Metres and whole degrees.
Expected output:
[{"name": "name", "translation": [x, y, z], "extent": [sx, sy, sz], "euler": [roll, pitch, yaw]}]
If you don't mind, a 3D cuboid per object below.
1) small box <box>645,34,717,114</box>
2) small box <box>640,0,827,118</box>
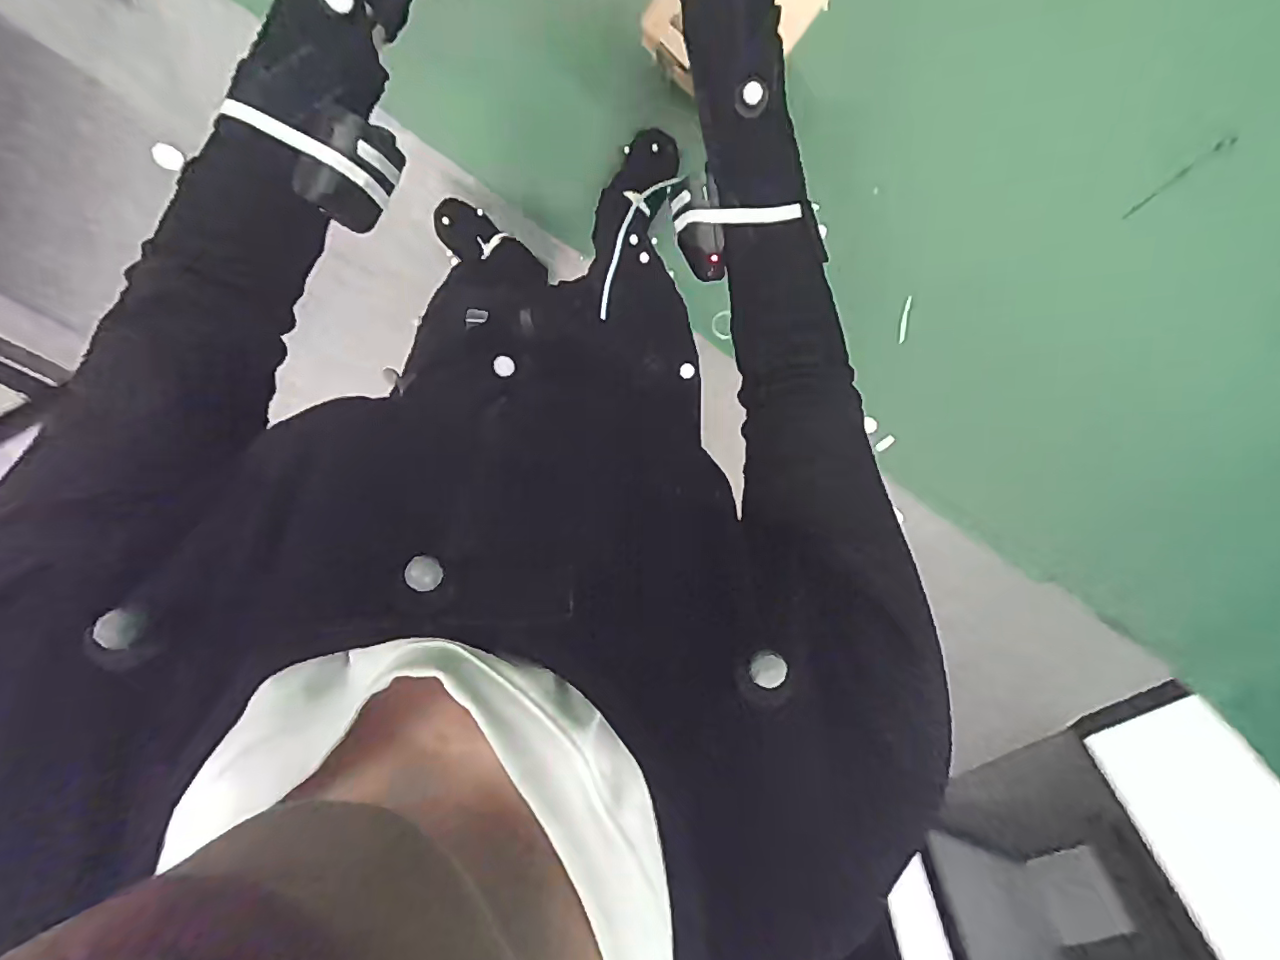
[{"name": "small box", "translation": [0.123, -0.809, 0.977], "extent": [0.168, 0.176, 0.179], "euler": [34, 122, -21]}, {"name": "small box", "translation": [0.119, -0.617, 0.708], "extent": [0.168, 0.176, 0.179], "euler": [33, 121, -21]}]
